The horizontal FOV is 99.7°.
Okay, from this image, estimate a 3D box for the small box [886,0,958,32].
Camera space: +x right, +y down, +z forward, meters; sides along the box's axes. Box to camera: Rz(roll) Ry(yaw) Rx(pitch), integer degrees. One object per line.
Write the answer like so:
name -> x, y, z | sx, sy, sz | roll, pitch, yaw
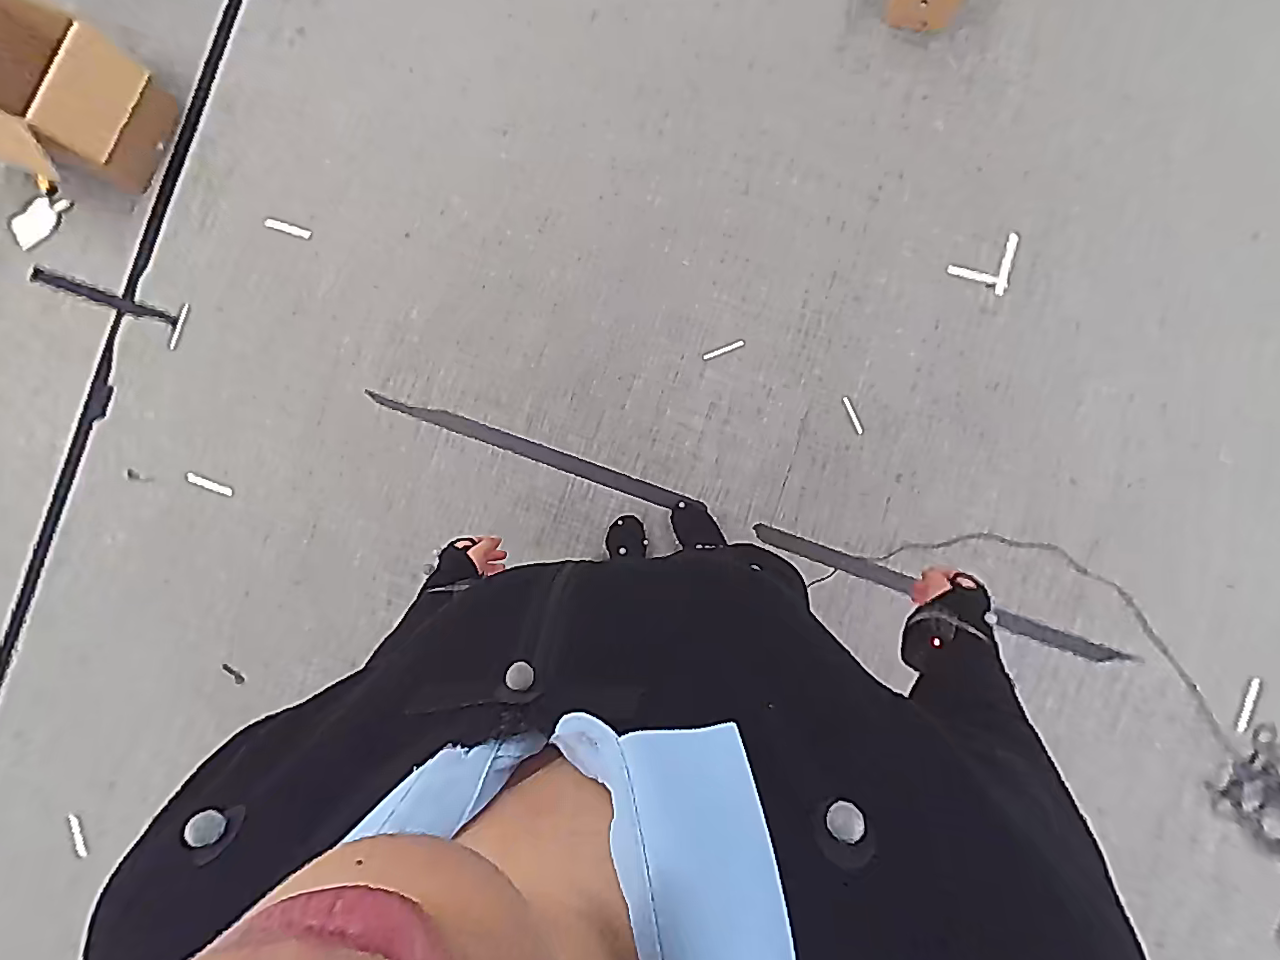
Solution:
small box -> 0.779, -1.354, 1.441 | 0.168, 0.176, 0.179 | 14, 88, 4
